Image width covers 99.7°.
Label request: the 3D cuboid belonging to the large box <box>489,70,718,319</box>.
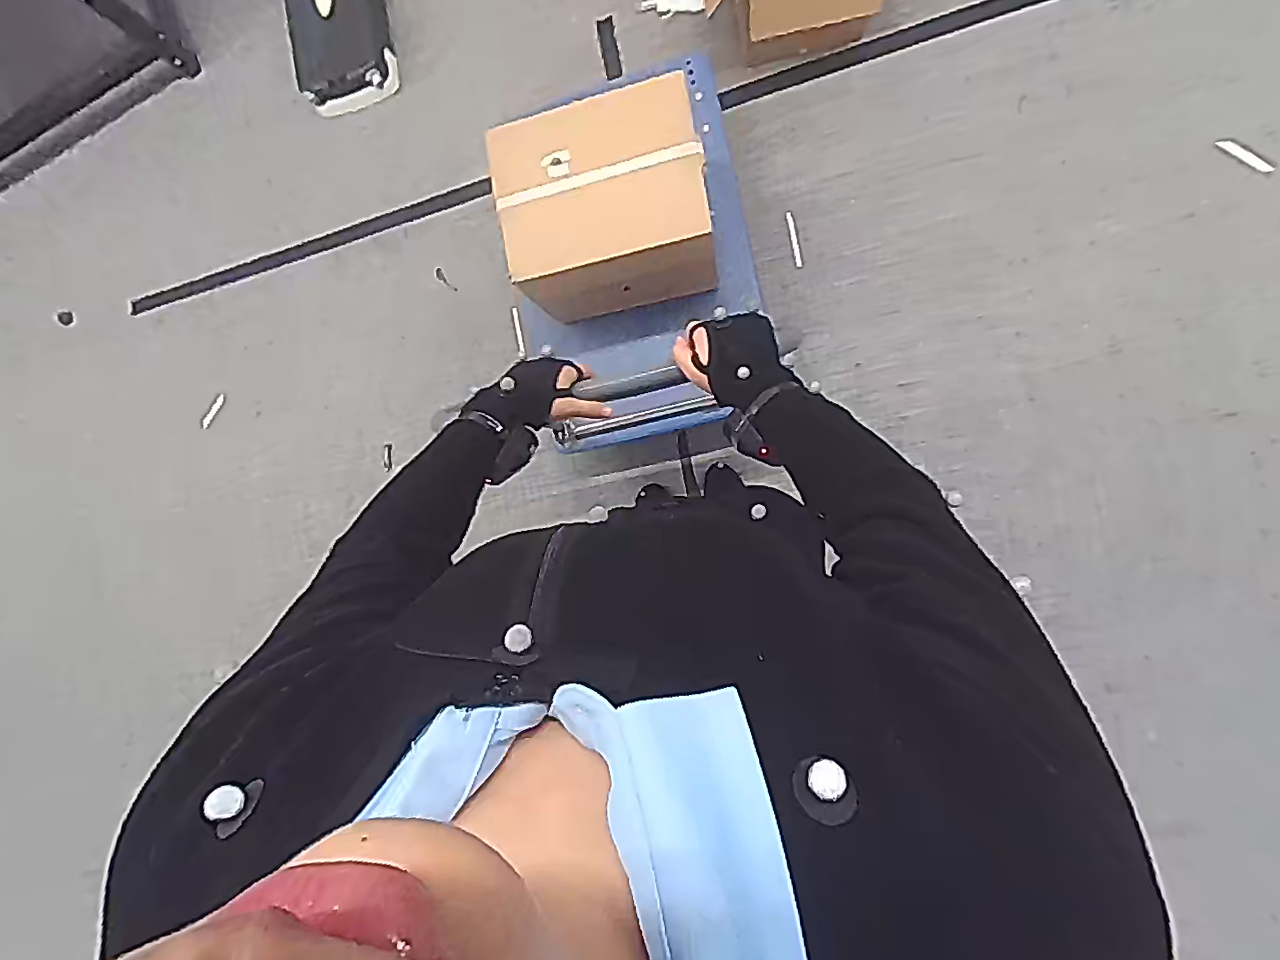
[{"bbox_3d":[-0.058,-0.586,1.190,0.408,0.320,0.320,-11,88,11],"label":"large box"}]
